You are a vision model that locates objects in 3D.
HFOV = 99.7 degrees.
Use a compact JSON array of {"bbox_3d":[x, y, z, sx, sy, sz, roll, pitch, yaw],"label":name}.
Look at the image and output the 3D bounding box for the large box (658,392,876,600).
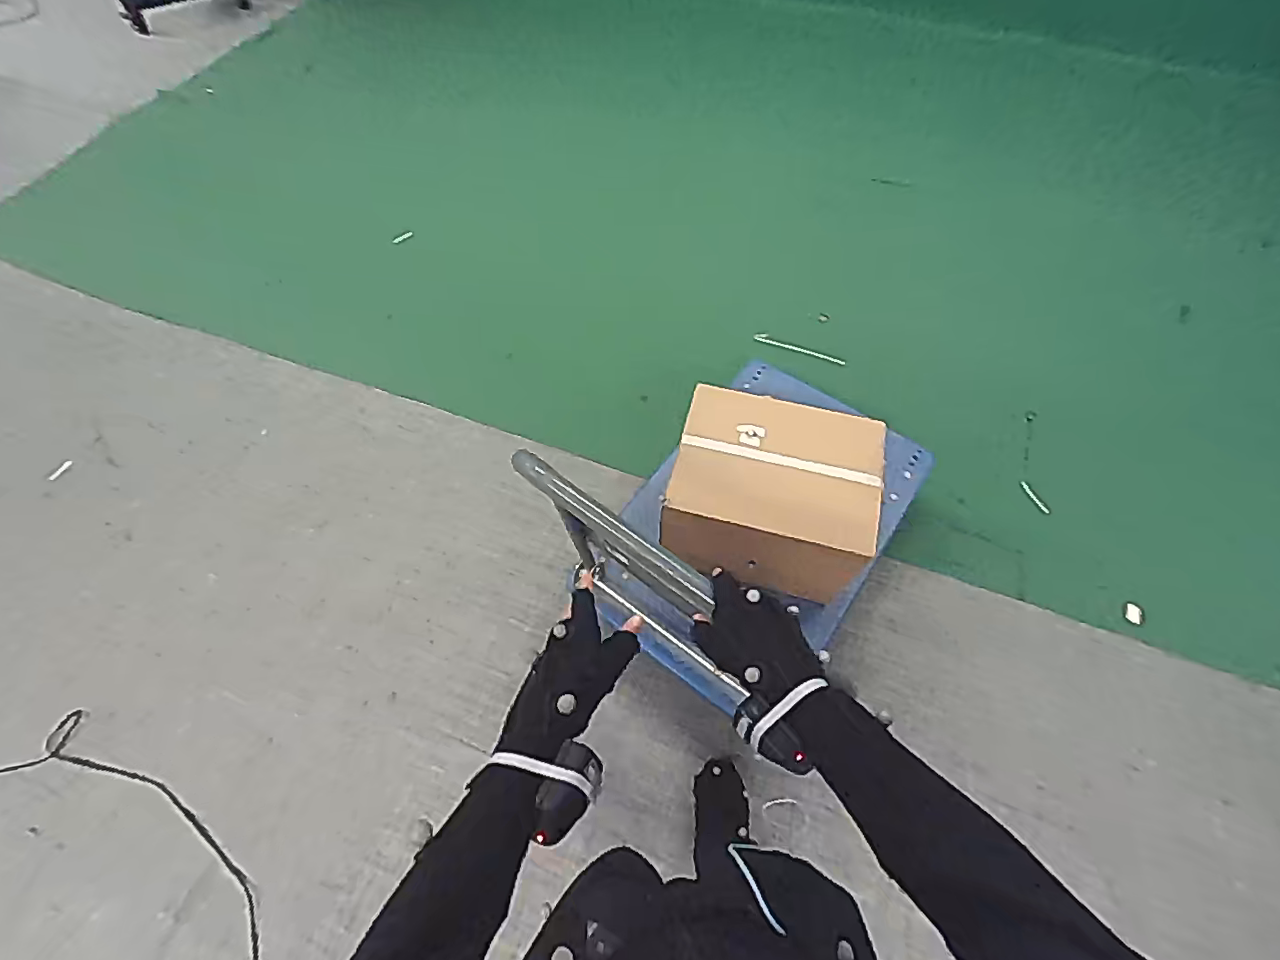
[{"bbox_3d":[0.275,0.045,1.229,0.408,0.320,0.320,13,62,10],"label":"large box"}]
